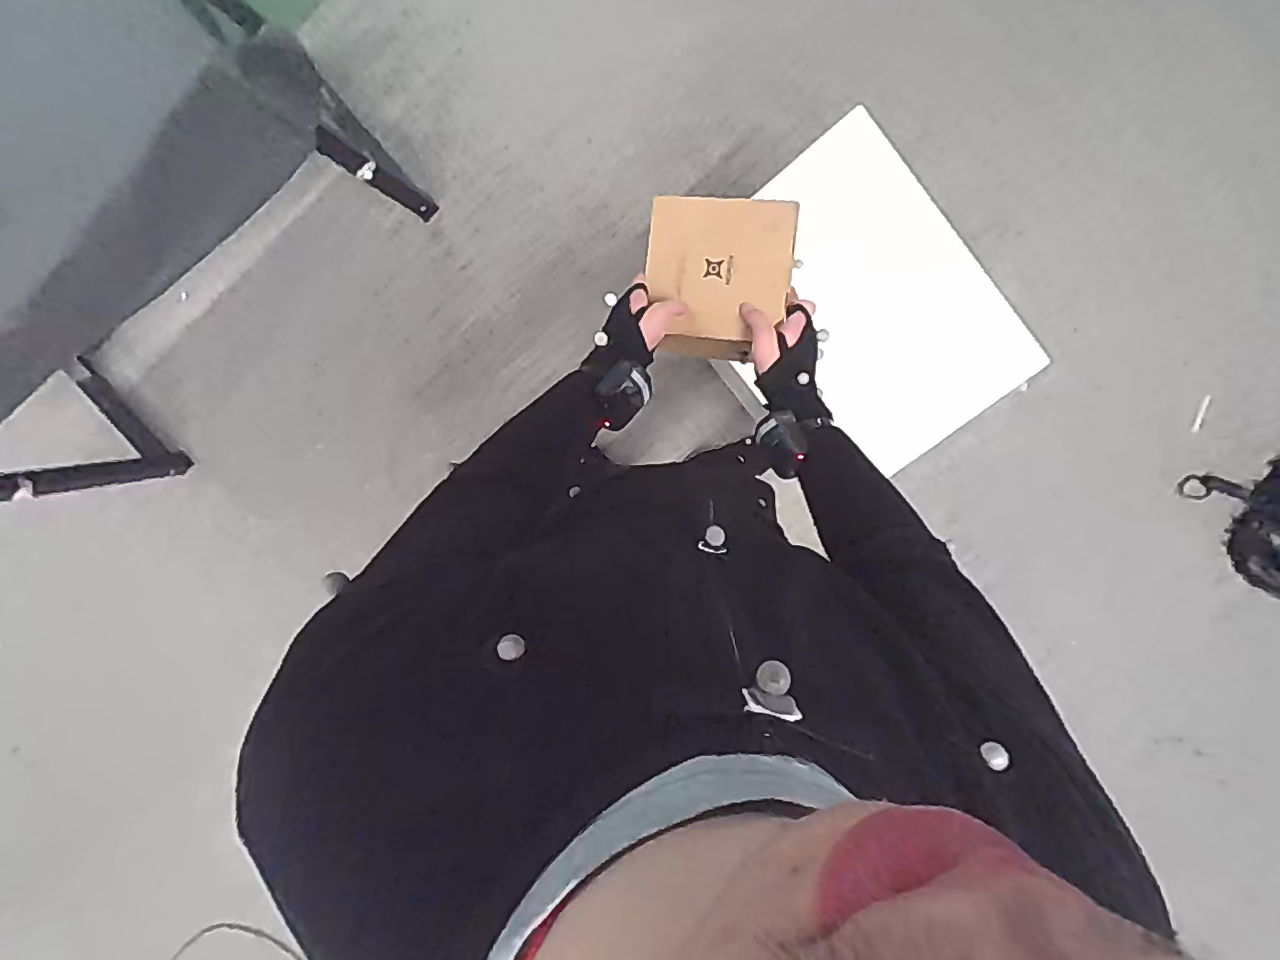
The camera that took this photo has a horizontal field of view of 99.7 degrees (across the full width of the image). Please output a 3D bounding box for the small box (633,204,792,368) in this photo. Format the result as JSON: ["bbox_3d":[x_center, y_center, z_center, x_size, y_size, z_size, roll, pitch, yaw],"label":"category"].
[{"bbox_3d":[0.100,-0.246,0.718,0.179,0.176,0.168,6,94,13],"label":"small box"}]
